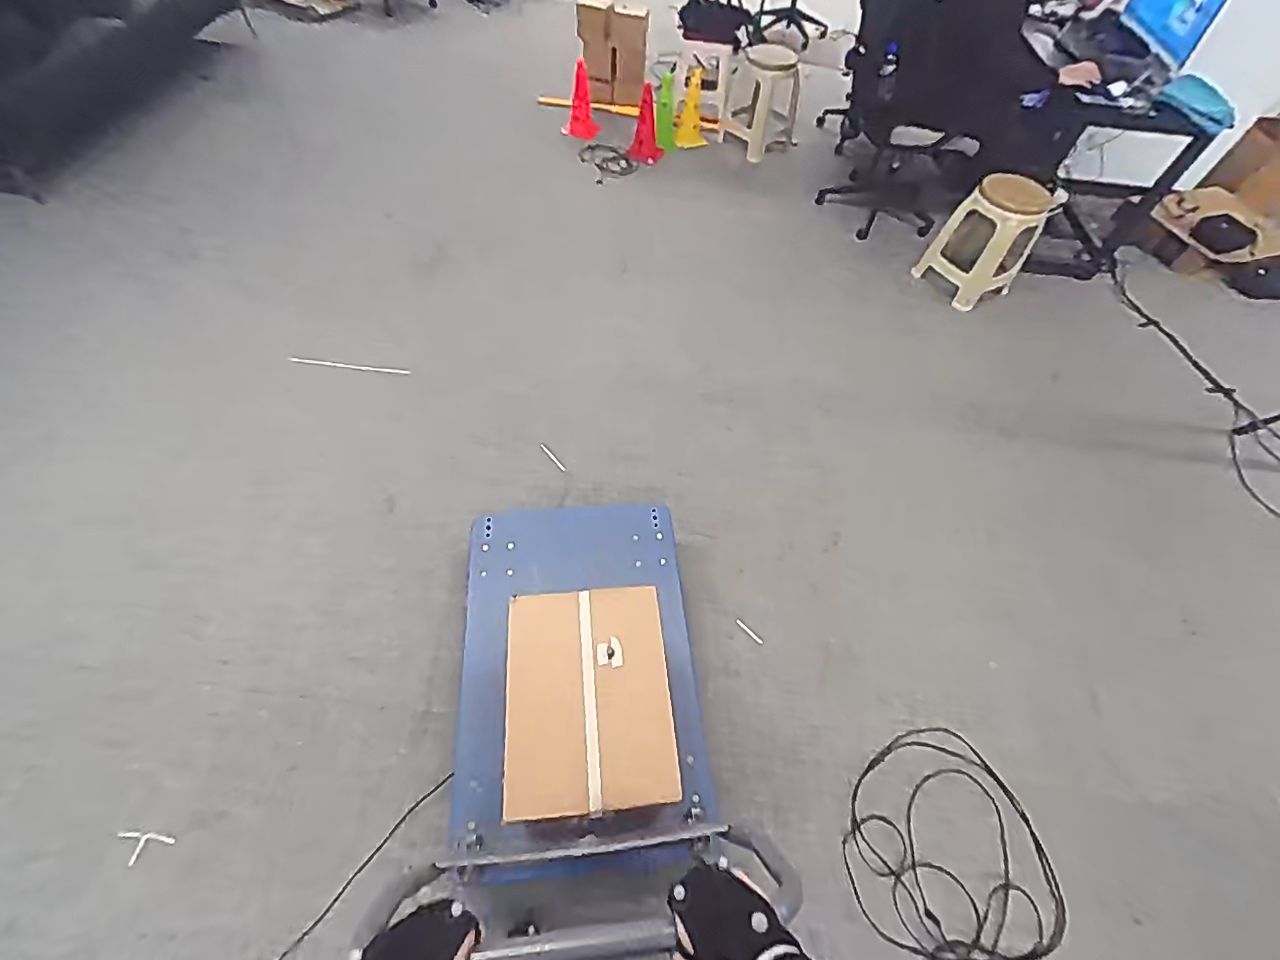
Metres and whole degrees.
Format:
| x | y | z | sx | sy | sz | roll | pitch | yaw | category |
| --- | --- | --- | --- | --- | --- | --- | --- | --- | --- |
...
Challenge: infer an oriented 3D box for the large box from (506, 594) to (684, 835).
| x | y | z | sx | sy | sz | roll | pitch | yaw | category |
| --- | --- | --- | --- | --- | --- | --- | --- | --- | --- |
| -0.106 | 0.501 | 1.159 | 0.320 | 0.320 | 0.408 | -3 | 56 | -7 | large box |
